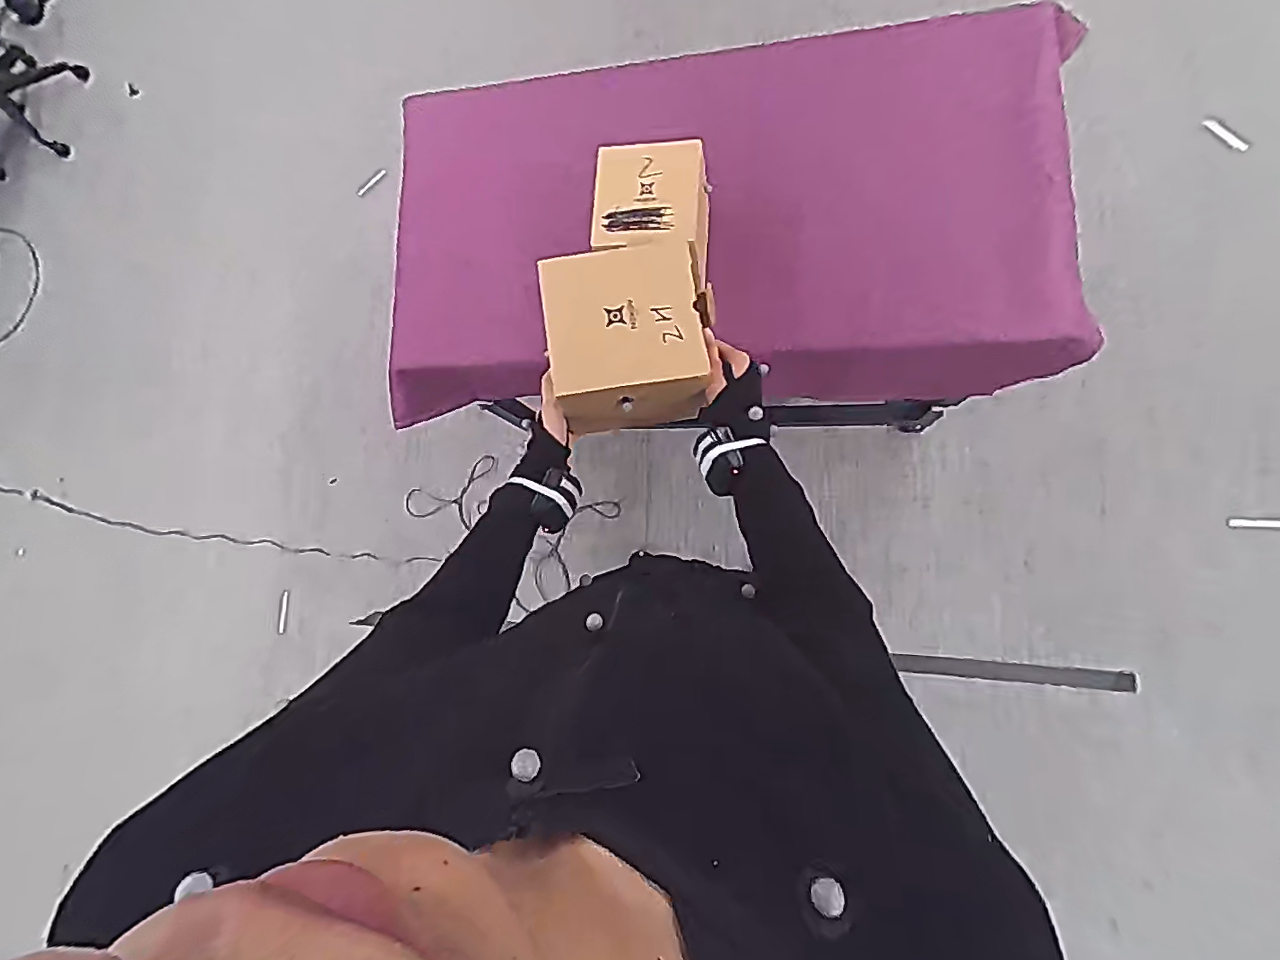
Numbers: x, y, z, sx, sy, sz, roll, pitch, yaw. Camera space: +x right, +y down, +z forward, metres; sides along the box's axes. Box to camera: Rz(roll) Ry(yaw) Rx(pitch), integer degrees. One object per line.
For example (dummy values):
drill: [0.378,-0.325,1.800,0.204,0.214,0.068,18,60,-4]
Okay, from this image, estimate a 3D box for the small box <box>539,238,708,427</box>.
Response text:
small box: [-0.019,-0.172,0.679,0.179,0.176,0.168,-8,81,-2]
